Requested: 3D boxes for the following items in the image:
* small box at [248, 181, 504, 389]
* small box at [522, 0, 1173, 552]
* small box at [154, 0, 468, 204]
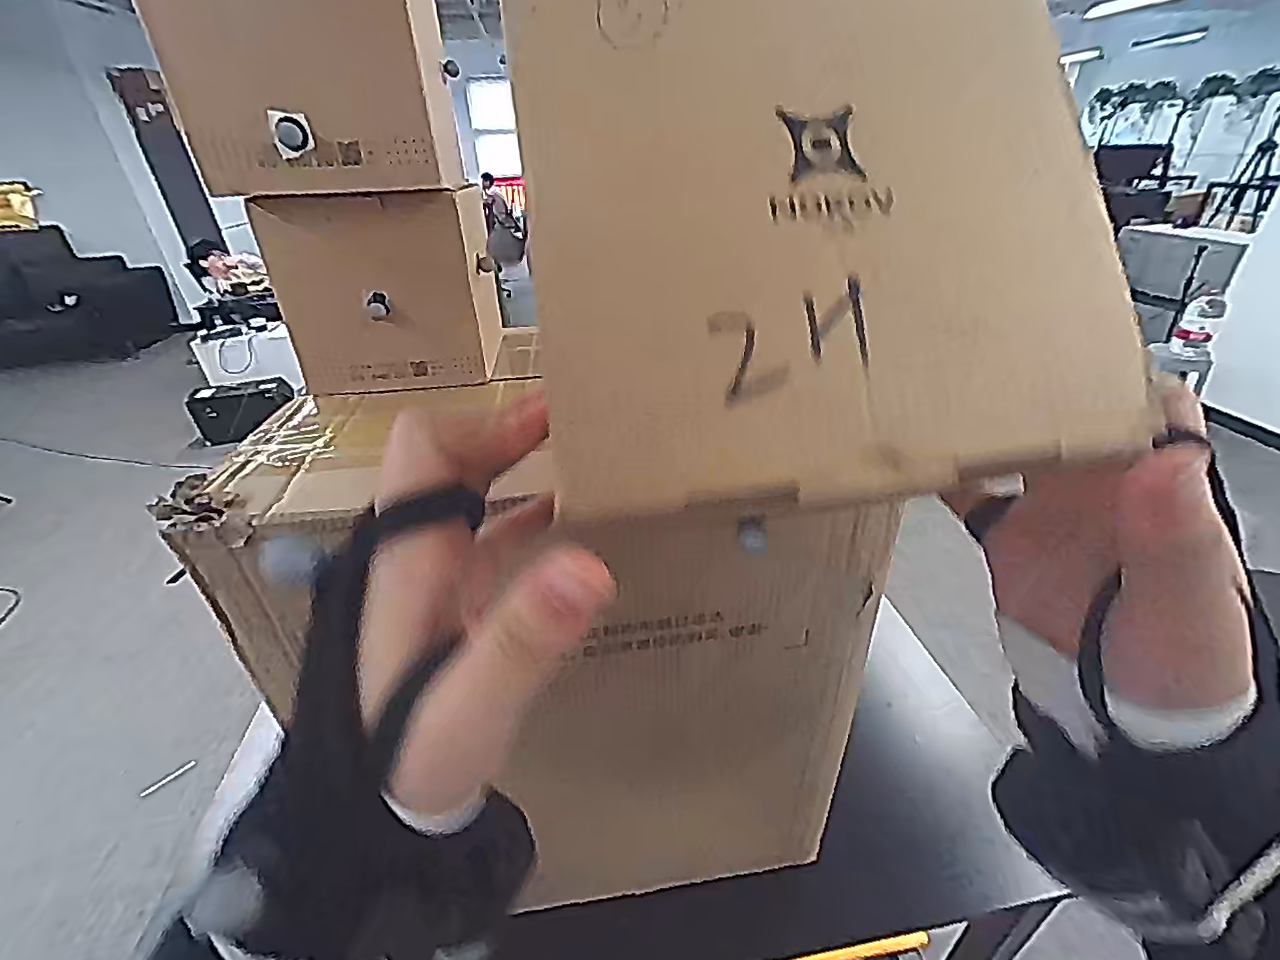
[{"bbox_3d":[-0.235,-0.195,0.541,0.168,0.176,0.179,-5,31,-6],"label":"small box"},{"bbox_3d":[0.045,-0.065,0.225,0.168,0.179,0.176,-6,-6,-6],"label":"small box"},{"bbox_3d":[-0.239,-0.318,0.428,0.168,0.176,0.179,-8,32,-8],"label":"small box"}]
